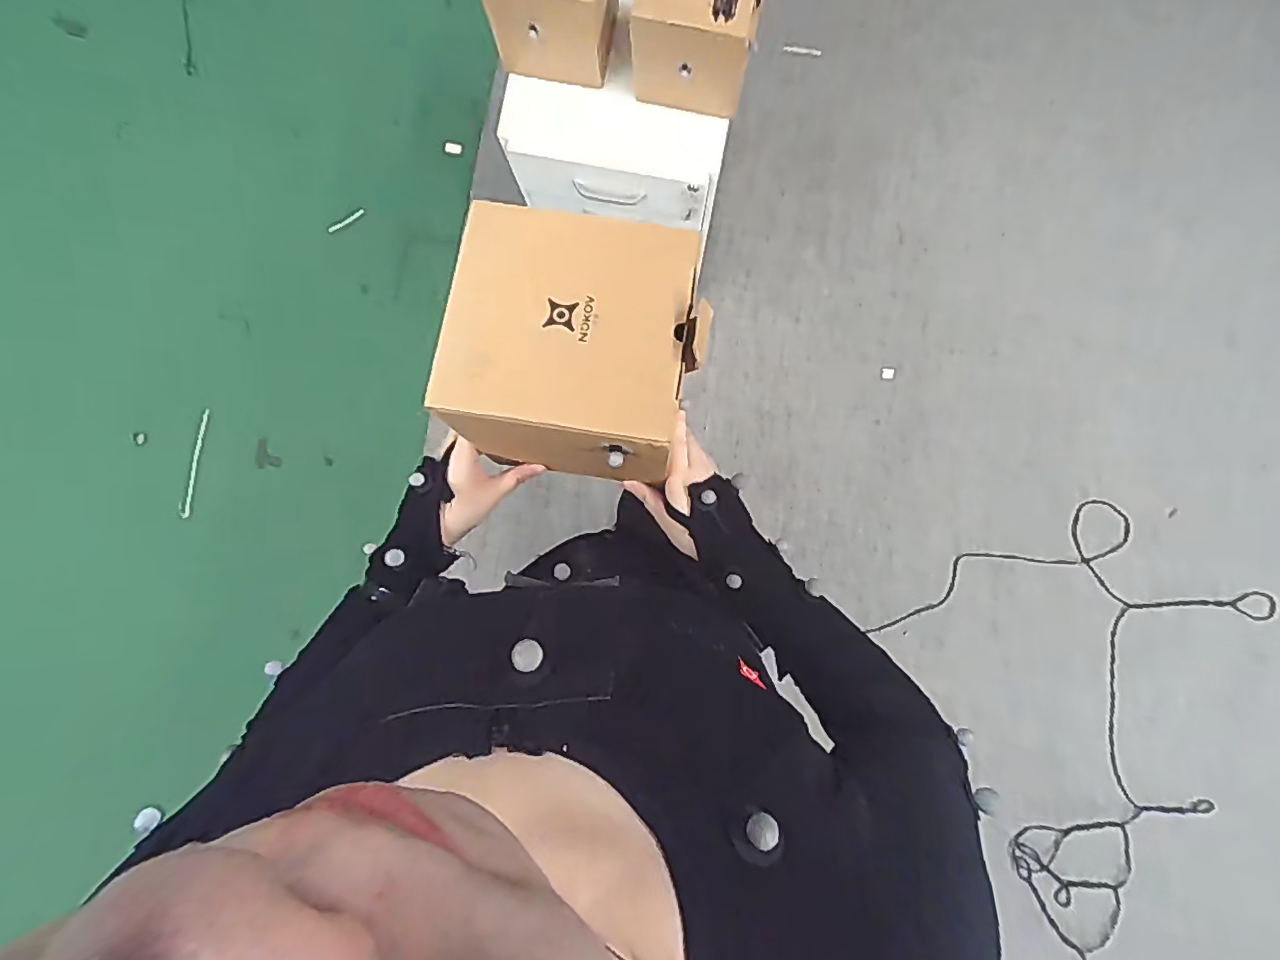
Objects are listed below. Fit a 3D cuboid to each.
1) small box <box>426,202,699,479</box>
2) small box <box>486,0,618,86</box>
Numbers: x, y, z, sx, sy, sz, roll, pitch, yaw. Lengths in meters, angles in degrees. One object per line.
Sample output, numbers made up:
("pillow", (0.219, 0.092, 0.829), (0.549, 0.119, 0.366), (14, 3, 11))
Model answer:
("small box", (-0.053, -0.104, 0.468), (0.179, 0.176, 0.168), (8, 79, 1))
("small box", (-0.139, -0.774, 0.862), (0.179, 0.176, 0.168), (11, 89, 1))
